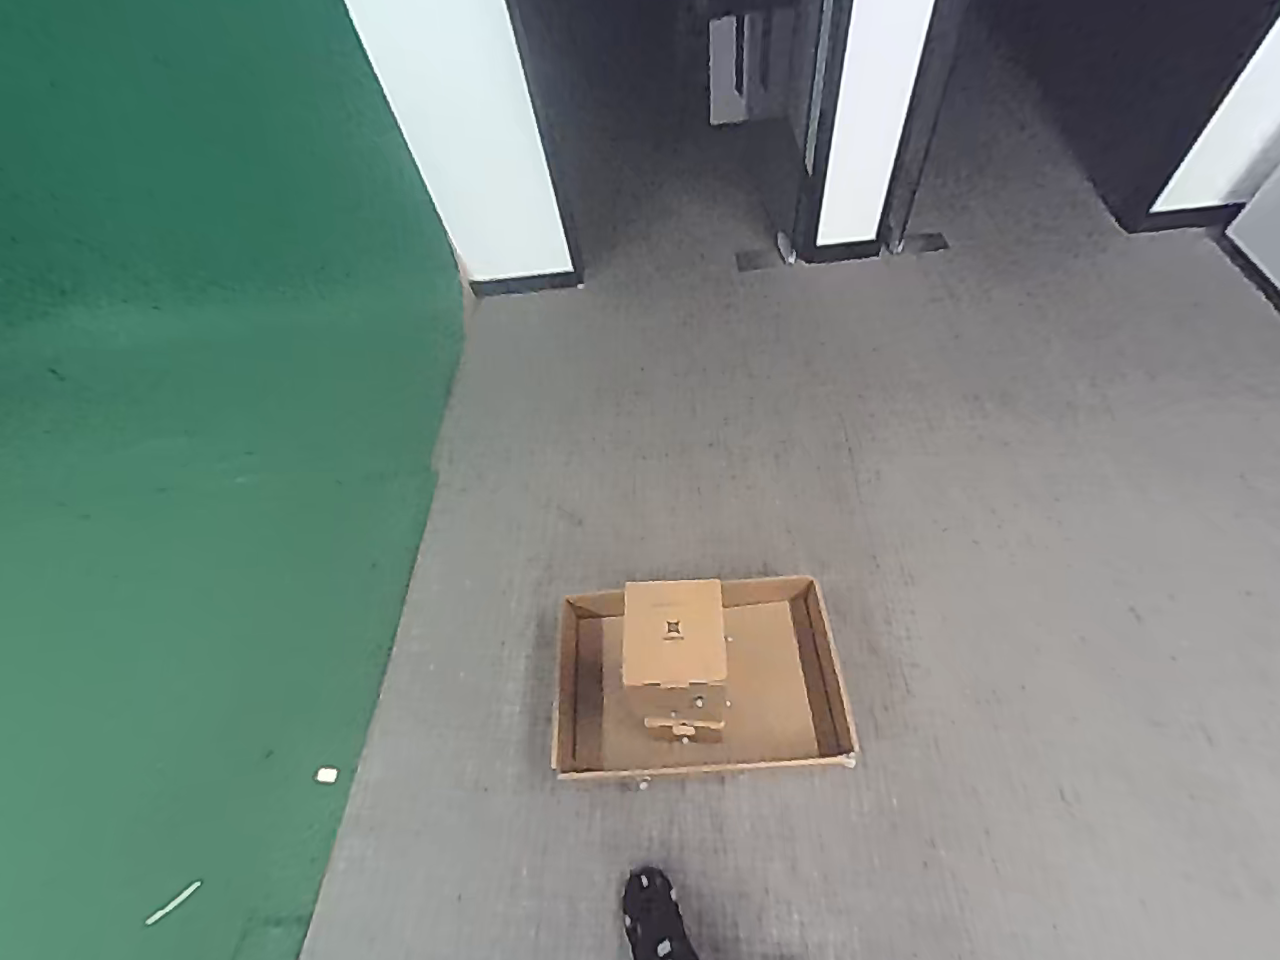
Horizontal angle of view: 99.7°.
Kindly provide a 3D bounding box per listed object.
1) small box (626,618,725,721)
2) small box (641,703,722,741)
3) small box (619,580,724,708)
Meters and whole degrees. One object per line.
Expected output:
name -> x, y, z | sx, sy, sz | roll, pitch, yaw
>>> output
small box -> 0.078, 0.376, 1.083 | 0.179, 0.176, 0.168 | 1, 55, 10
small box -> 0.100, 0.478, 1.211 | 0.168, 0.176, 0.179 | 0, 56, 8
small box -> 0.060, 0.291, 0.946 | 0.168, 0.176, 0.179 | -2, 53, 5
